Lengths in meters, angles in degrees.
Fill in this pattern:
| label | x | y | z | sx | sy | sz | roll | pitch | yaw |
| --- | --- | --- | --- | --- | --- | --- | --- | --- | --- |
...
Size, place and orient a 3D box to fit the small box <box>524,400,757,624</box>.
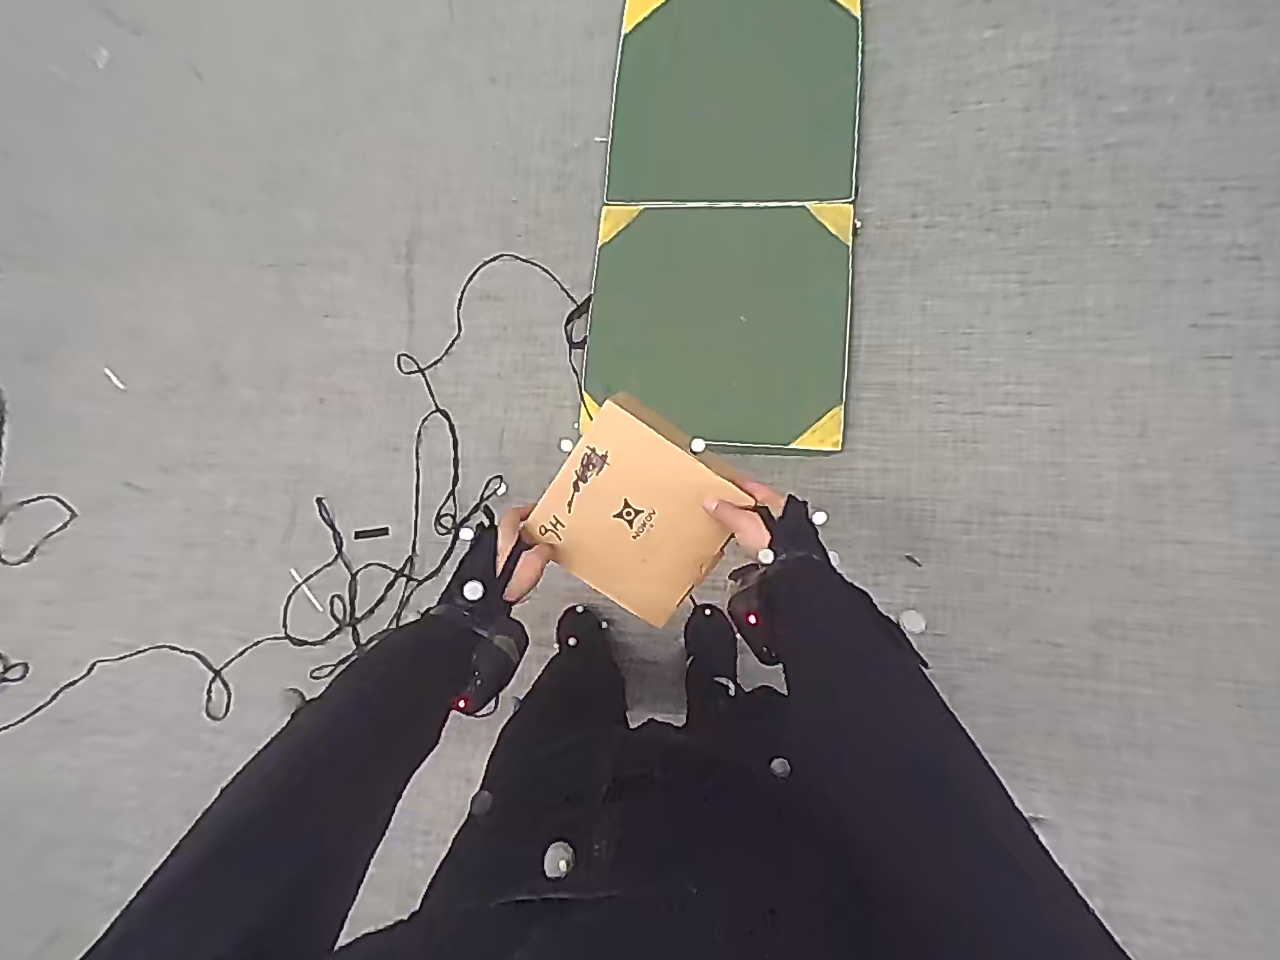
| label | x | y | z | sx | sy | sz | roll | pitch | yaw |
| --- | --- | --- | --- | --- | --- | --- | --- | --- | --- |
| small box | 0.003 | 0.021 | 0.608 | 0.179 | 0.176 | 0.168 | 34 | 101 | -4 |
